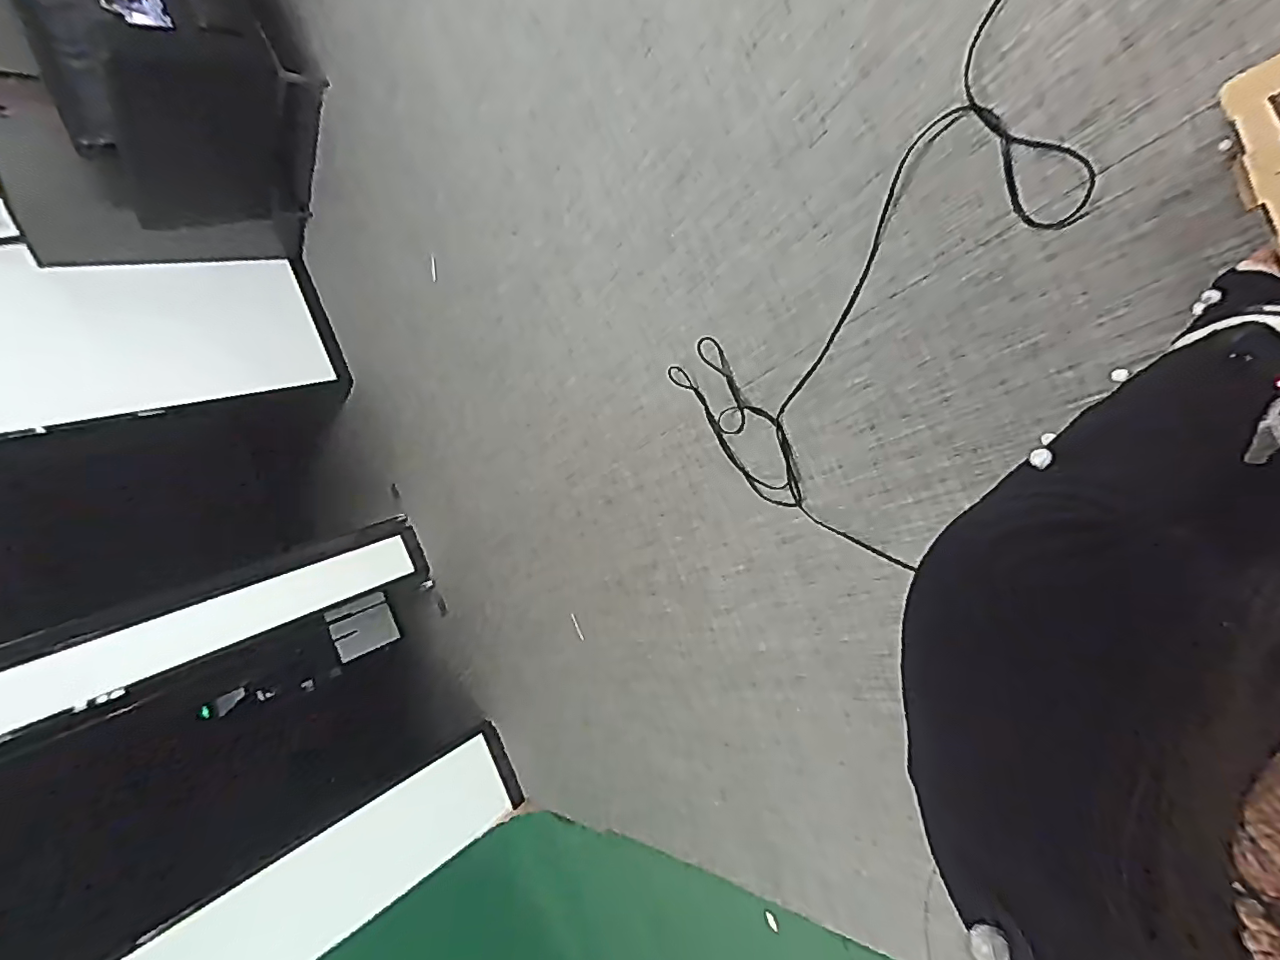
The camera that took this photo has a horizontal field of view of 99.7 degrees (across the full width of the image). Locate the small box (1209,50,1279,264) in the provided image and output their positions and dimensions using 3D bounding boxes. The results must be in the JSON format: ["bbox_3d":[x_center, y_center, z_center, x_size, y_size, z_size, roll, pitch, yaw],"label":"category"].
[{"bbox_3d":[0.622,-0.298,0.445,0.179,0.176,0.168,-21,91,51],"label":"small box"}]
